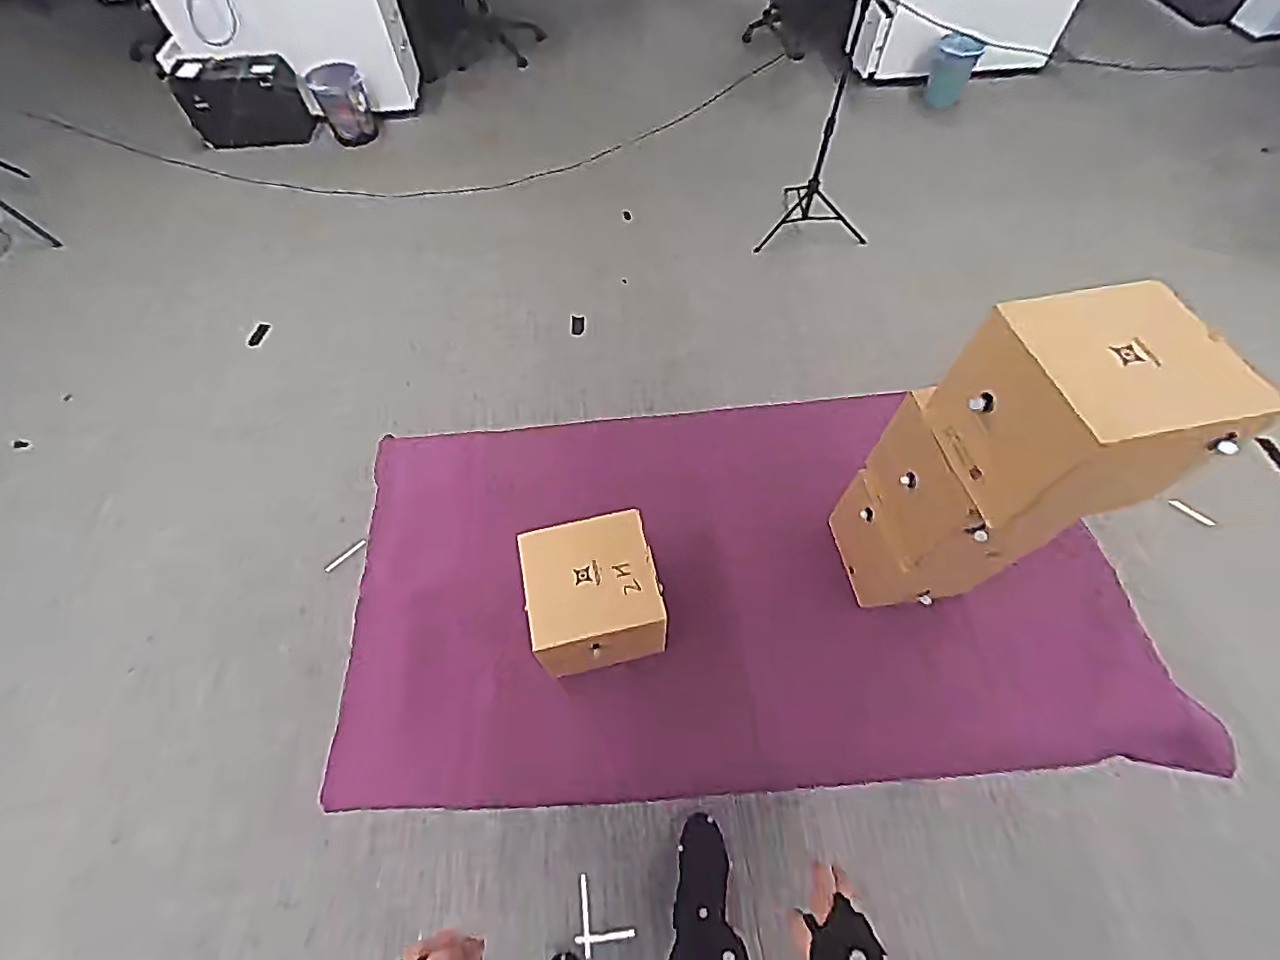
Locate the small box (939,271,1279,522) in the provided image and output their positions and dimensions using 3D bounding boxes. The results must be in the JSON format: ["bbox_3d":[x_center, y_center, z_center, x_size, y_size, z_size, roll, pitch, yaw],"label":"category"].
[{"bbox_3d":[0.431,-0.074,0.534,0.179,0.176,0.168,-10,59,-5],"label":"small box"}]

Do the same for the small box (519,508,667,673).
[{"bbox_3d":[-0.064,0.164,0.779,0.179,0.176,0.168,-11,59,-7],"label":"small box"}]

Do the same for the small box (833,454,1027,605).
[{"bbox_3d":[0.423,0.079,0.824,0.179,0.176,0.168,-7,59,-4],"label":"small box"}]
